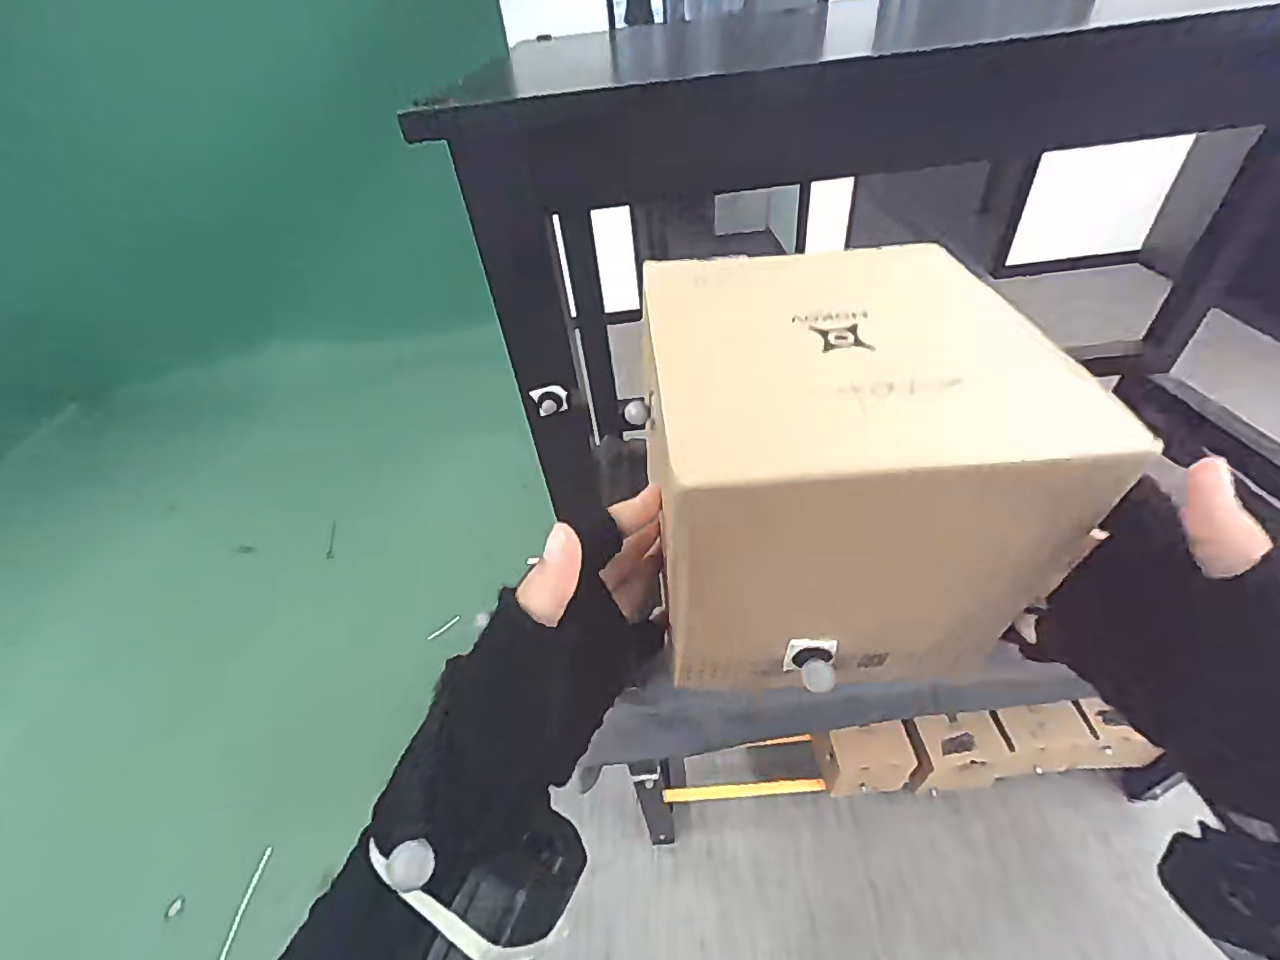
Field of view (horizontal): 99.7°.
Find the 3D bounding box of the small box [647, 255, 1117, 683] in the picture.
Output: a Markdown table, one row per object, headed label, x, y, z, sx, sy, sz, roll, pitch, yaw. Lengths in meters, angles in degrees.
| label | x | y | z | sx | sy | sz | roll | pitch | yaw |
| --- | --- | --- | --- | --- | --- | --- | --- | --- | --- |
| small box | 0.090 | -0.008 | 0.309 | 0.168 | 0.176 | 0.179 | -4 | 46 | 0 |
